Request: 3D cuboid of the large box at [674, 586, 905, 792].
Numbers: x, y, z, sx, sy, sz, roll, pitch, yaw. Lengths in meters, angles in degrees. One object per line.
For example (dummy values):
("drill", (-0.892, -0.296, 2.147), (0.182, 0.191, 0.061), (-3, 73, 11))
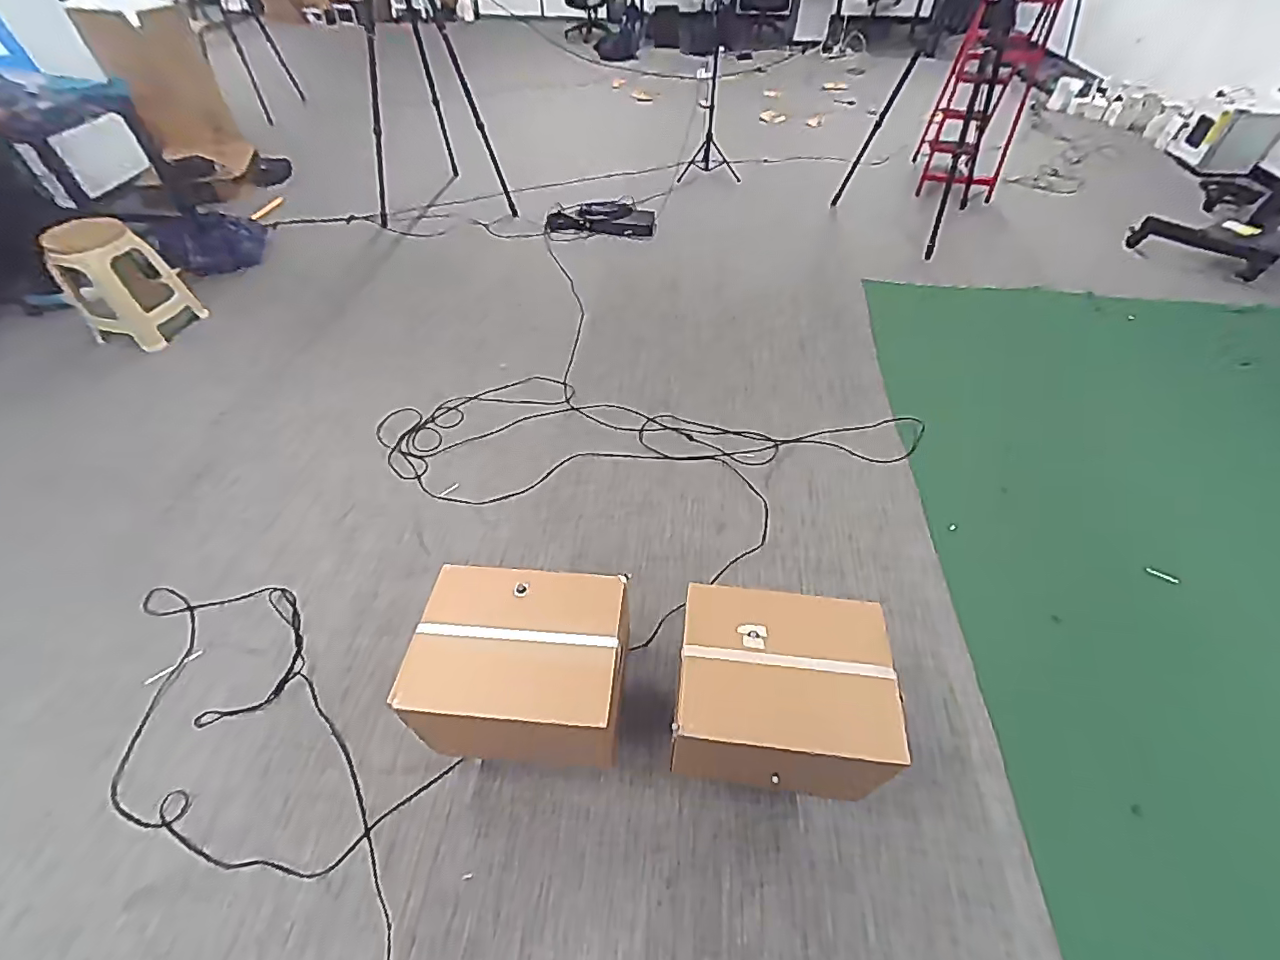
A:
("large box", (0.288, 0.455, 1.169), (0.408, 0.320, 0.320), (5, 49, 5))
